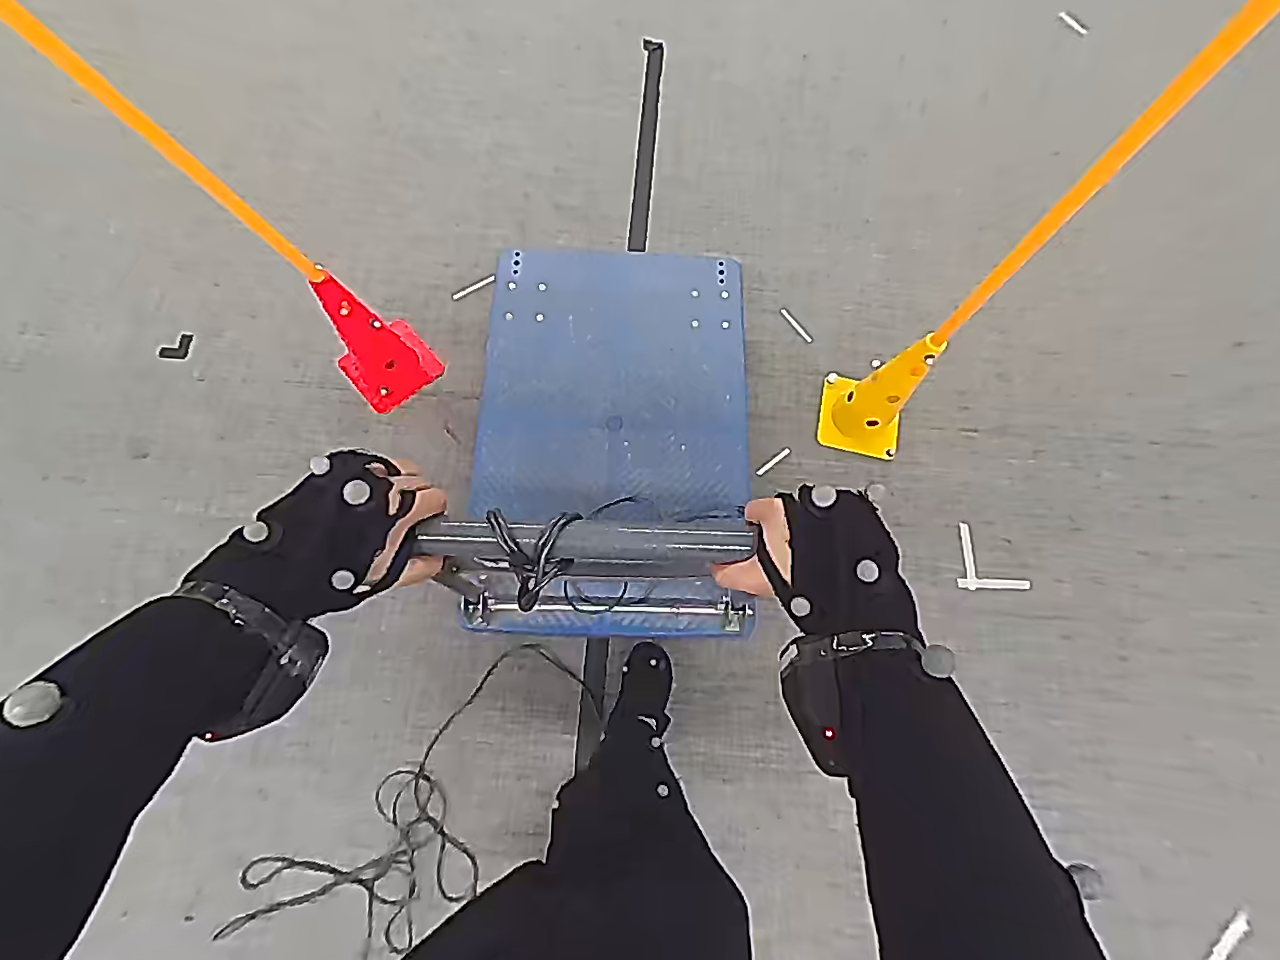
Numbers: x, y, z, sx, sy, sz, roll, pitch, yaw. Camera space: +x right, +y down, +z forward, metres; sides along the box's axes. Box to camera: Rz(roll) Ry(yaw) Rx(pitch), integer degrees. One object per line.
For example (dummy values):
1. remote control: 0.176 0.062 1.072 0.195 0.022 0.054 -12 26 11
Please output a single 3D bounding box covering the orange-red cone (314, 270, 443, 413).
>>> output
1. orange-red cone: -0.610 -0.333 1.191 0.199 0.360 0.198 -39 79 -14
